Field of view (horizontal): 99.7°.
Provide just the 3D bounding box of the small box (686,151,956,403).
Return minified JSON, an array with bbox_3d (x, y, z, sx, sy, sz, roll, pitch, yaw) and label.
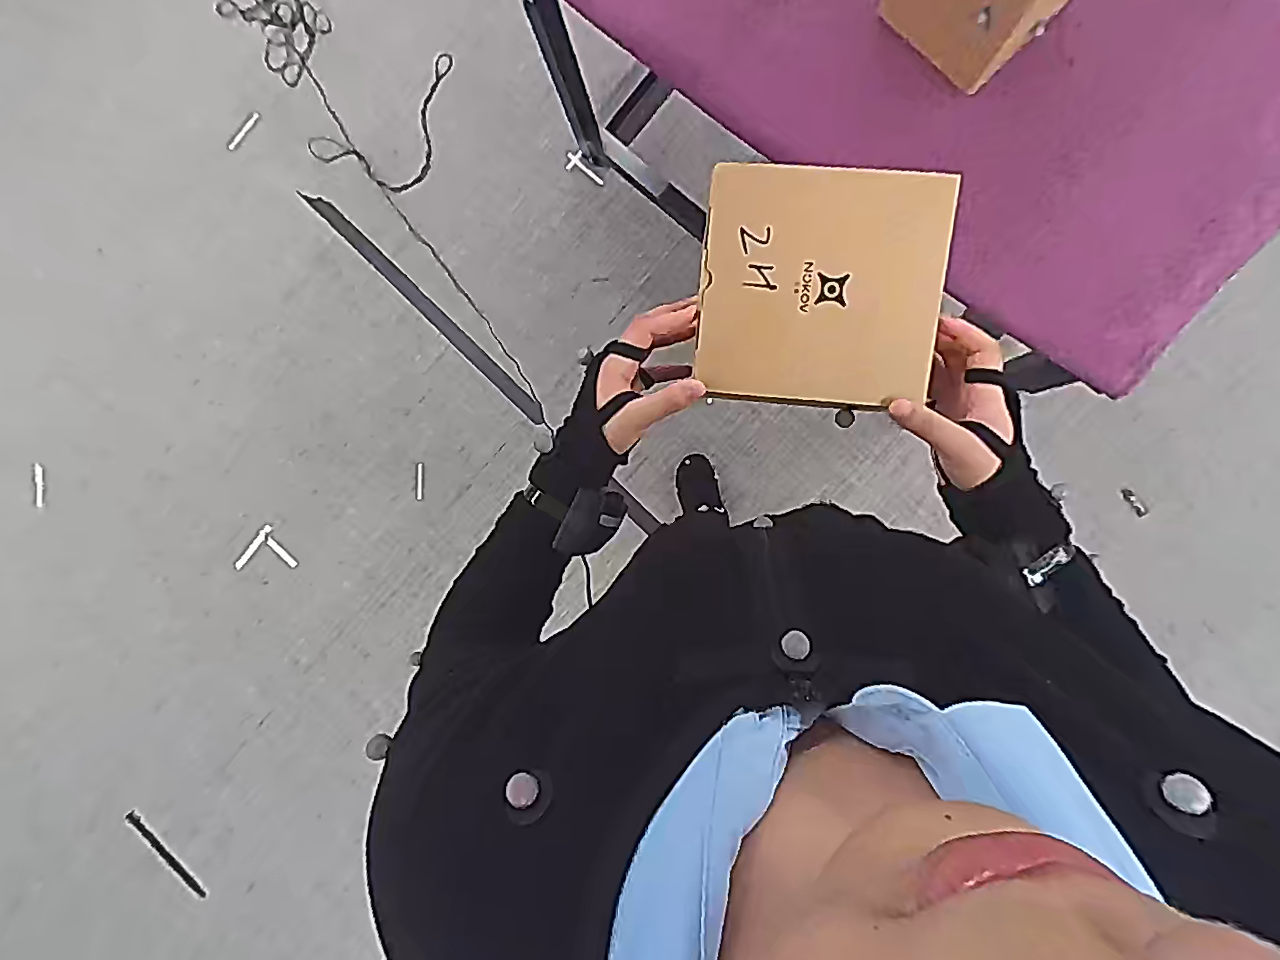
[{"bbox_3d":[0.135,-0.158,0.472,0.179,0.176,0.168,6,98,5],"label":"small box"}]
